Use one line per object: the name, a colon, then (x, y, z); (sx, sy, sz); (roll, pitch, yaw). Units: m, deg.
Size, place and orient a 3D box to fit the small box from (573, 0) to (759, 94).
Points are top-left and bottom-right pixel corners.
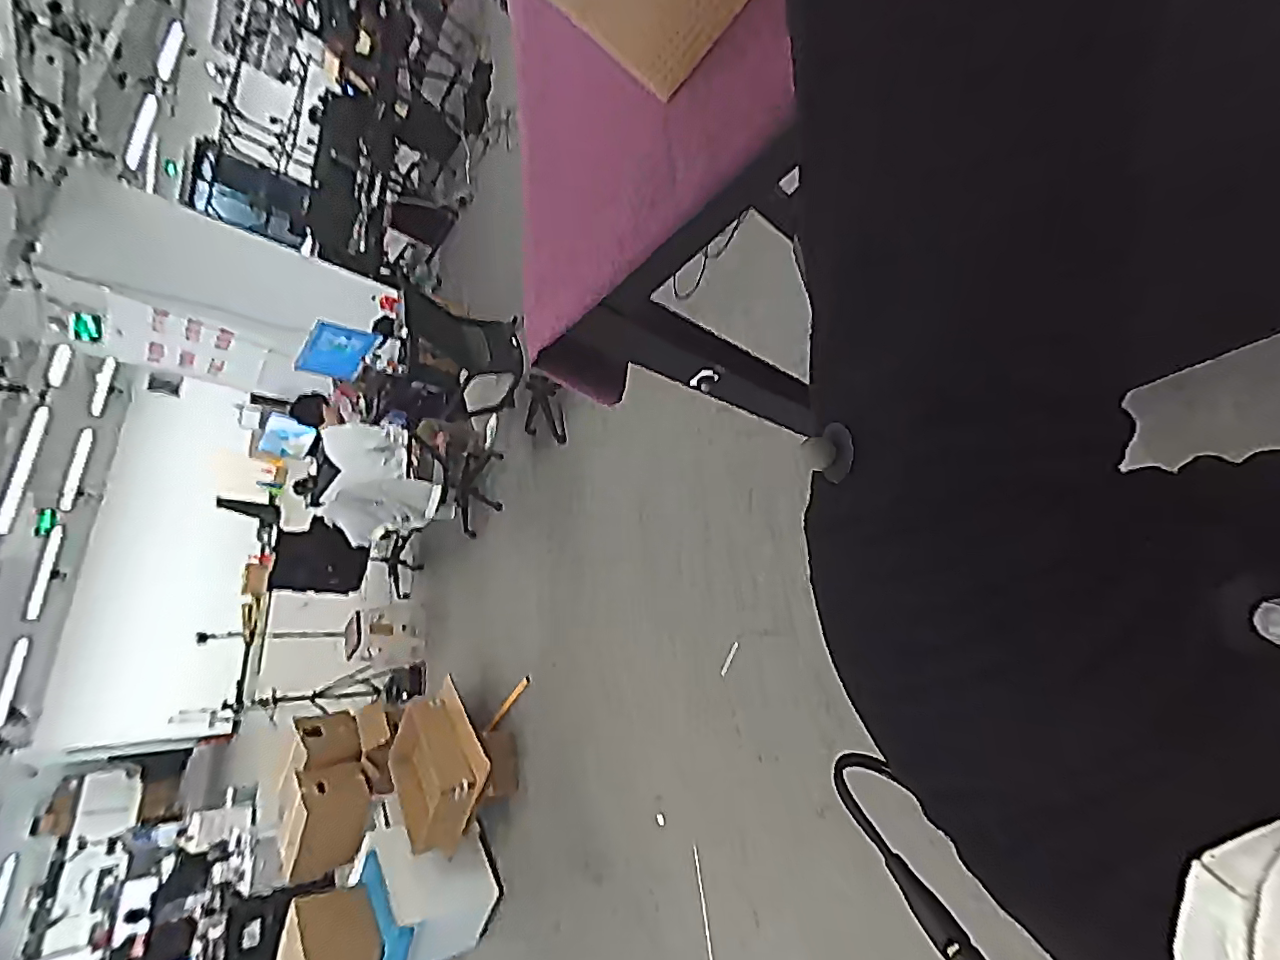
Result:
small box: (0.015, -0.414, 0.353); (0.179, 0.176, 0.168); (-32, 57, 40)
